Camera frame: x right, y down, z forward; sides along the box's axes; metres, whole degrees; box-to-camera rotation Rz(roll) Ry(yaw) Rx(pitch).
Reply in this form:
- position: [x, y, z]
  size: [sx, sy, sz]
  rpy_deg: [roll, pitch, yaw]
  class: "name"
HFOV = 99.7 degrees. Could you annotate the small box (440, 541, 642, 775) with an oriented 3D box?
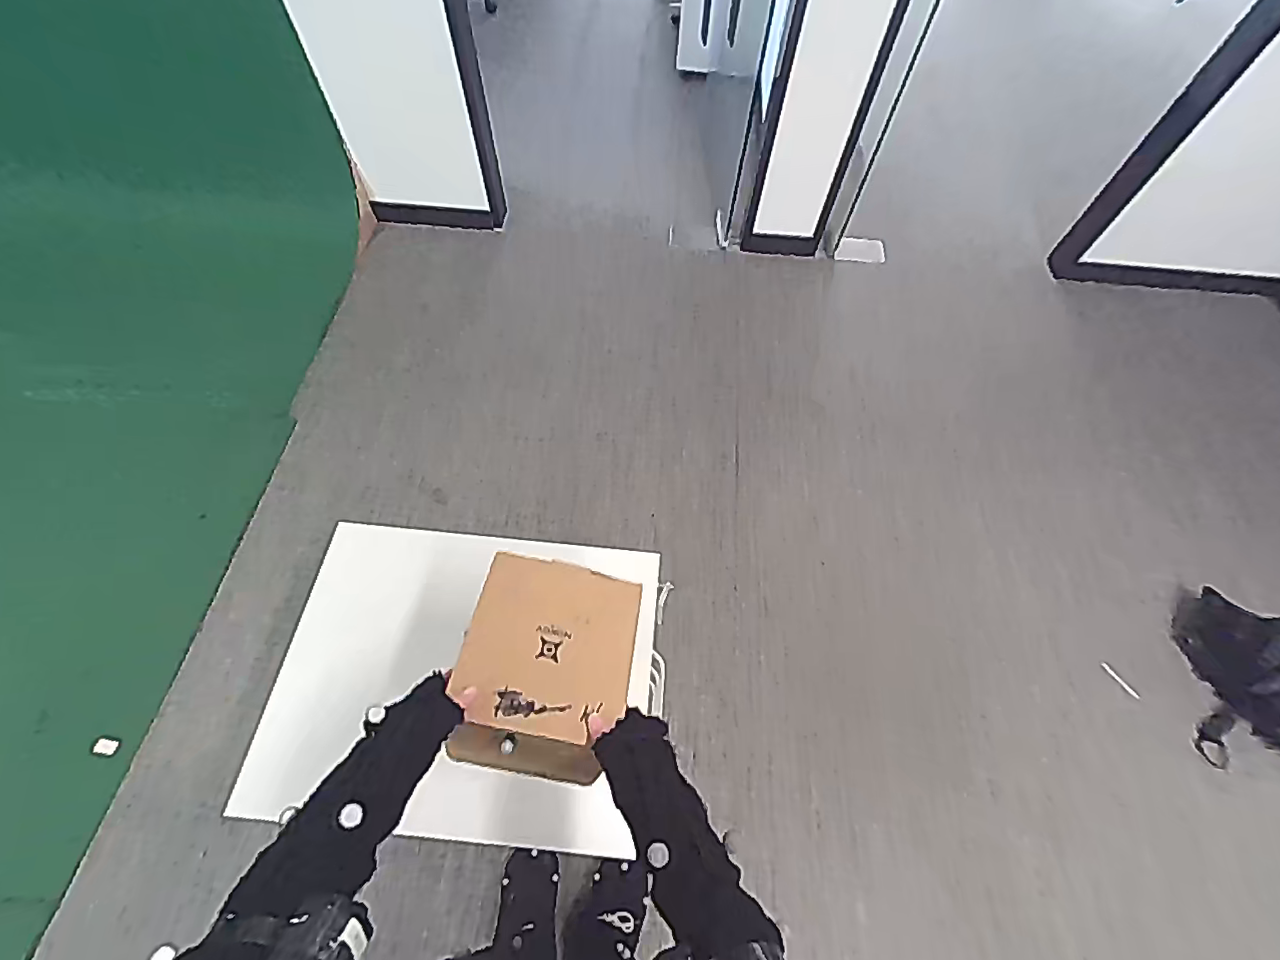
- position: [-0.105, 0.198, 0.593]
  size: [0.168, 0.176, 0.179]
  rpy_deg: [13, 50, -4]
  class: "small box"
